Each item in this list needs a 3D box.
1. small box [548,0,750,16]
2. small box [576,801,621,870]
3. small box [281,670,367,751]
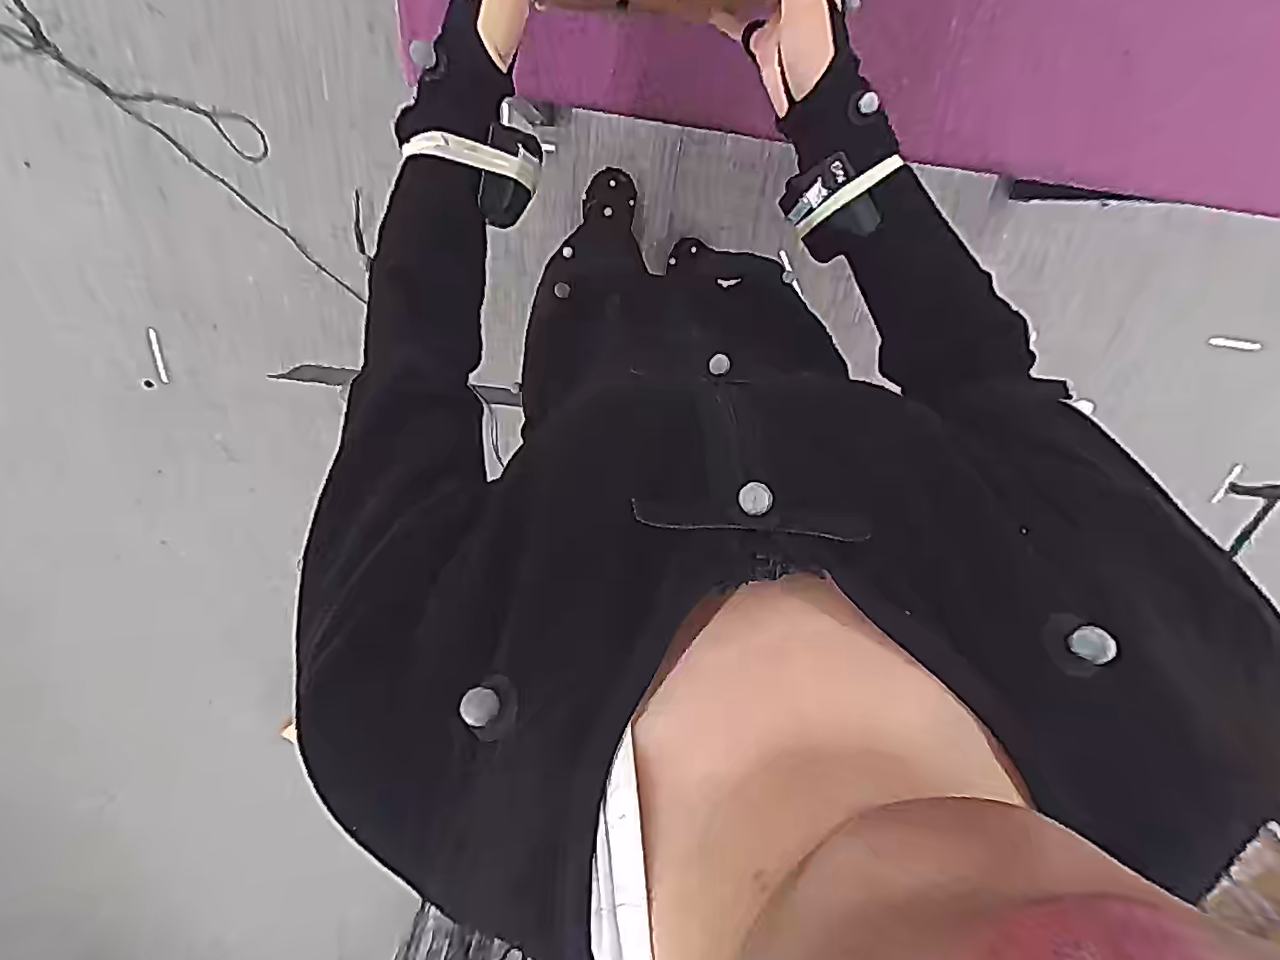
[{"bbox_3d":[0.004,-0.438,0.360,0.168,0.176,0.179,-3,127,-10],"label":"small box"},{"bbox_3d":[-0.160,1.363,2.077,0.168,0.176,0.179,3,119,-4],"label":"small box"},{"bbox_3d":[-1.113,0.817,1.922,0.179,0.176,0.168,-36,114,16],"label":"small box"}]
